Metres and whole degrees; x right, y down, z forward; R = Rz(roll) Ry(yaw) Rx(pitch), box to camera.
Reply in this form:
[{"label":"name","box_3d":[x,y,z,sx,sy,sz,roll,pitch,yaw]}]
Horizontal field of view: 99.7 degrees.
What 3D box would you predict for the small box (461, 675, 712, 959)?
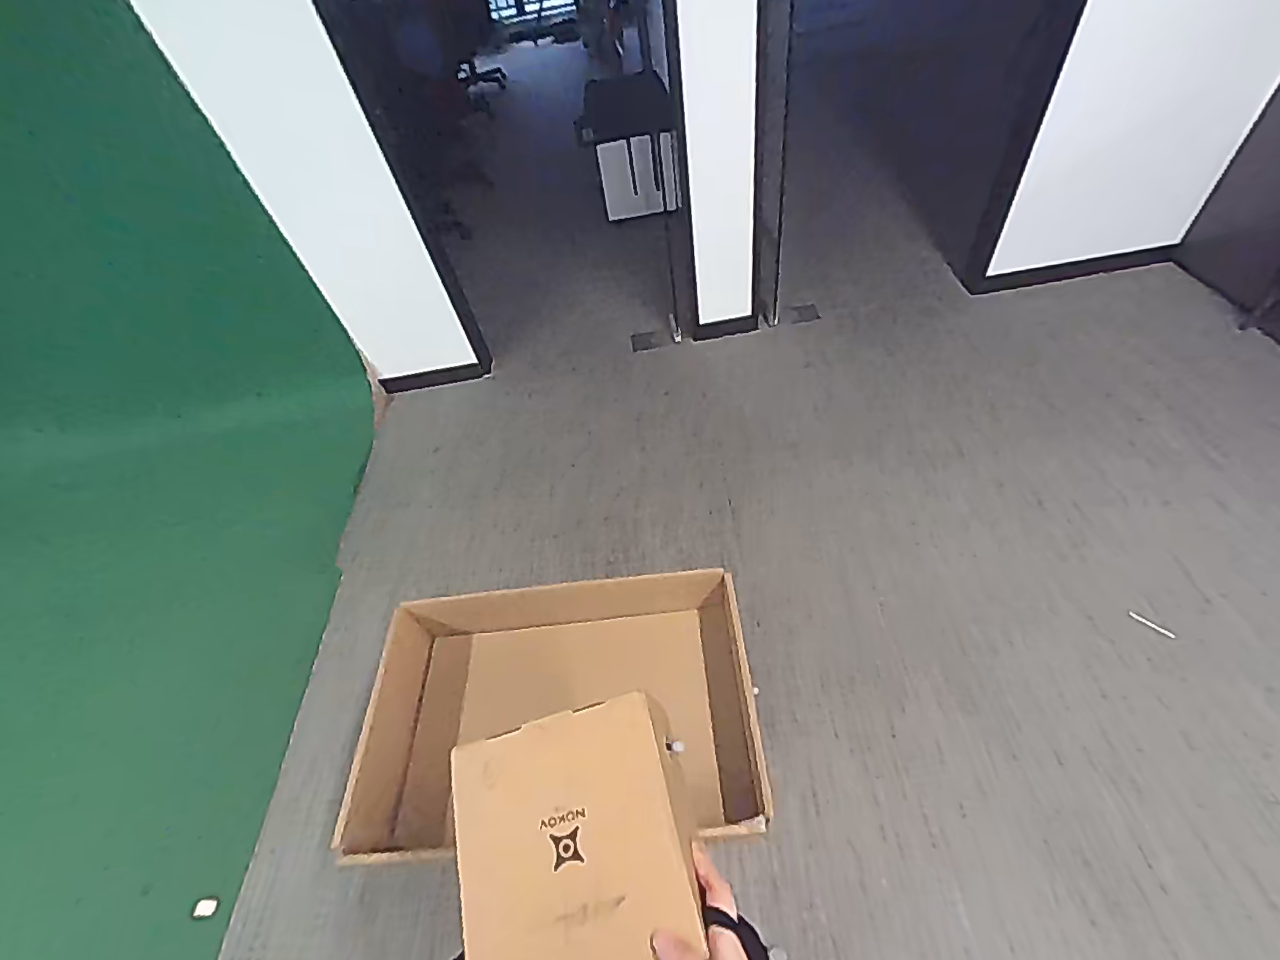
[{"label":"small box","box_3d":[-0.040,0.293,0.473,0.168,0.176,0.179,-16,60,1]}]
